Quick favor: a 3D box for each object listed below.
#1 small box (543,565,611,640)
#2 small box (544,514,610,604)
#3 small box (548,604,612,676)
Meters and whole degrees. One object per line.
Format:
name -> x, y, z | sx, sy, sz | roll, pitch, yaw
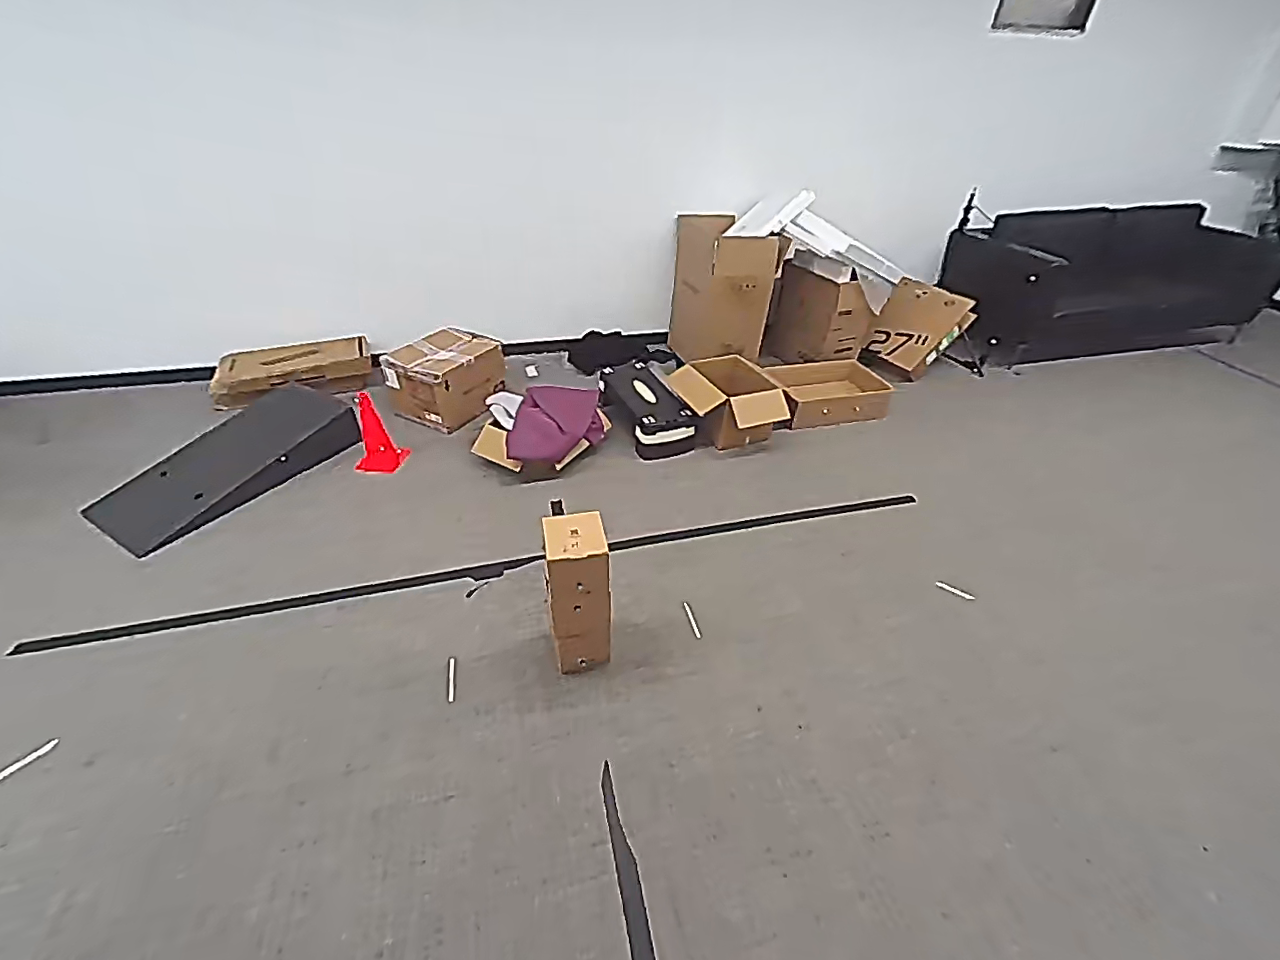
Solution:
small box -> -0.187, 0.356, 1.625 | 0.179, 0.176, 0.168 | -8, 38, -14
small box -> -0.180, 0.223, 1.529 | 0.168, 0.176, 0.179 | -7, 38, -11
small box -> -0.191, 0.489, 1.724 | 0.168, 0.176, 0.179 | -12, 40, -16
